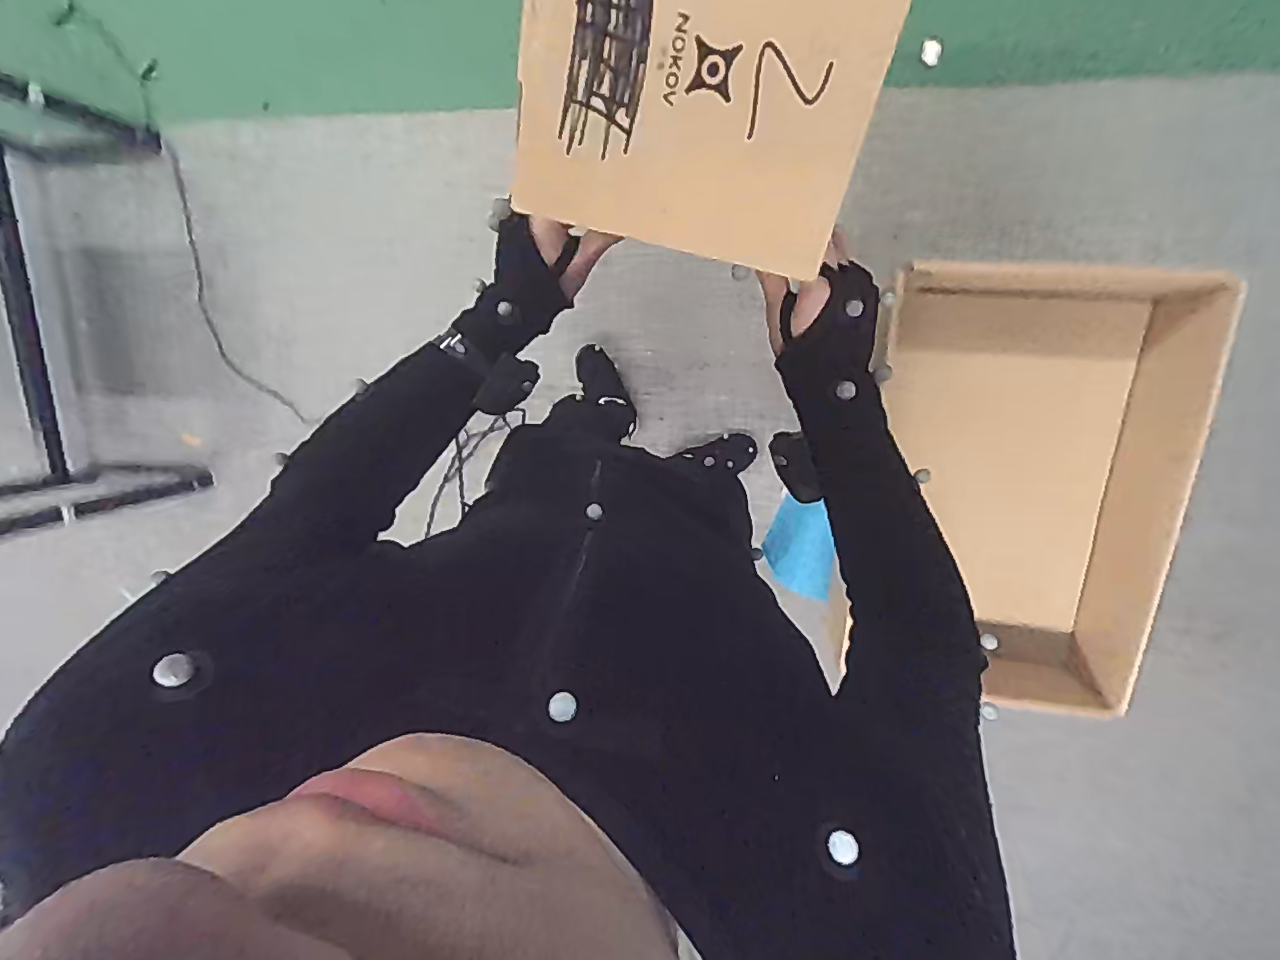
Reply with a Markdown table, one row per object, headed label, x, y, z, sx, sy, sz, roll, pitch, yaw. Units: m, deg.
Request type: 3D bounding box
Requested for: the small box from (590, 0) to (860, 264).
| label | x | y | z | sx | sy | sz | roll | pitch | yaw |
| --- | --- | --- | --- | --- | --- | --- | --- | --- | --- |
| small box | 0.067 | -0.305 | 0.477 | 0.168 | 0.176 | 0.179 | 15 | 117 | 4 |
